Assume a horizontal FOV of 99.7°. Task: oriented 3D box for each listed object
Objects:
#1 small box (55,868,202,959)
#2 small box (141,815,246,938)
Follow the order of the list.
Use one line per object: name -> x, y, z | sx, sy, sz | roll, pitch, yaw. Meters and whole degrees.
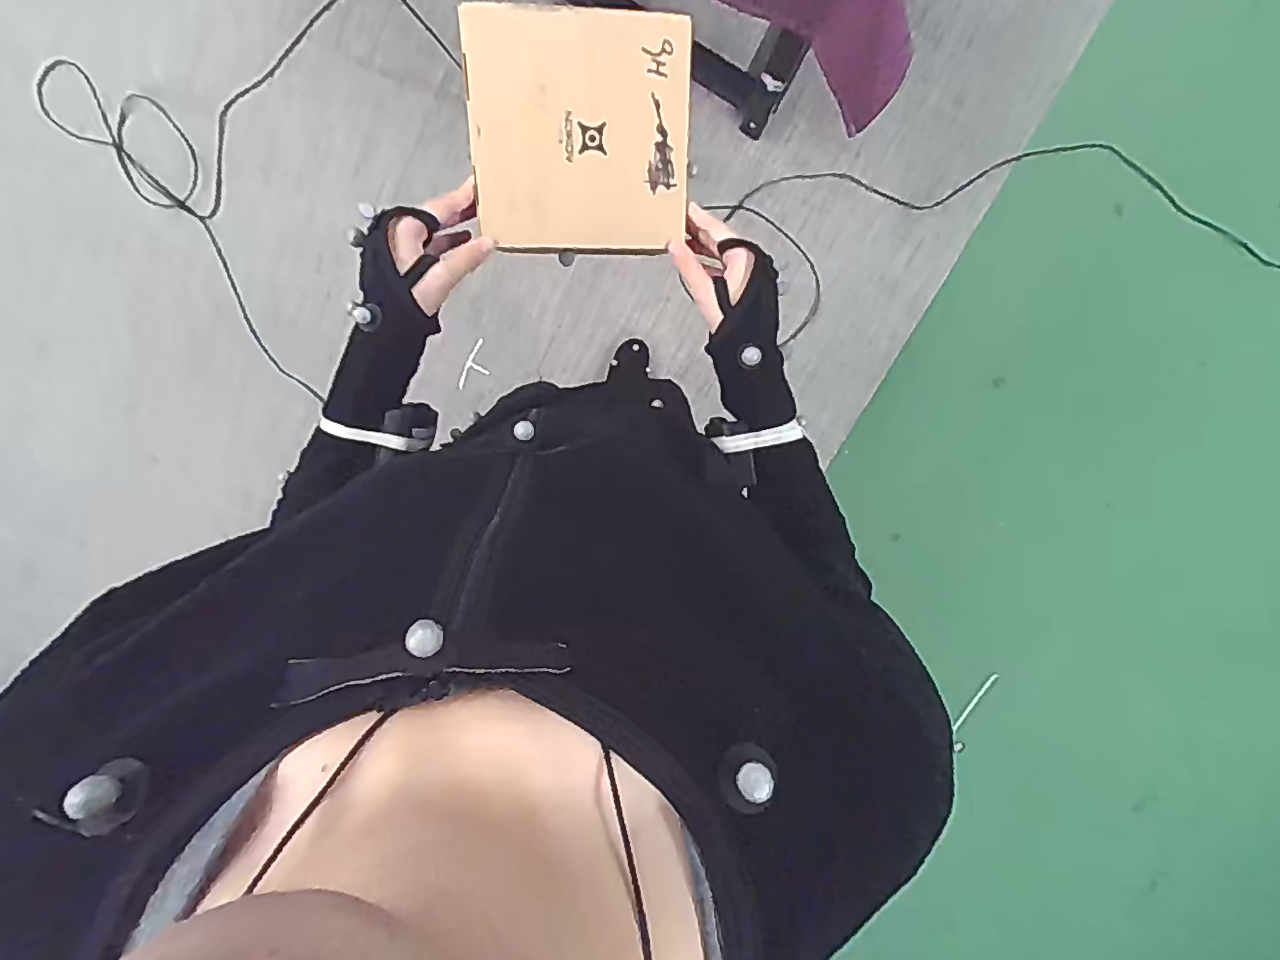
small box -> -1.196, 1.062, 1.266 | 0.179, 0.176, 0.168 | 30, 100, -6
small box -> -1.194, 1.037, 1.428 | 0.168, 0.176, 0.179 | 30, 100, -6
